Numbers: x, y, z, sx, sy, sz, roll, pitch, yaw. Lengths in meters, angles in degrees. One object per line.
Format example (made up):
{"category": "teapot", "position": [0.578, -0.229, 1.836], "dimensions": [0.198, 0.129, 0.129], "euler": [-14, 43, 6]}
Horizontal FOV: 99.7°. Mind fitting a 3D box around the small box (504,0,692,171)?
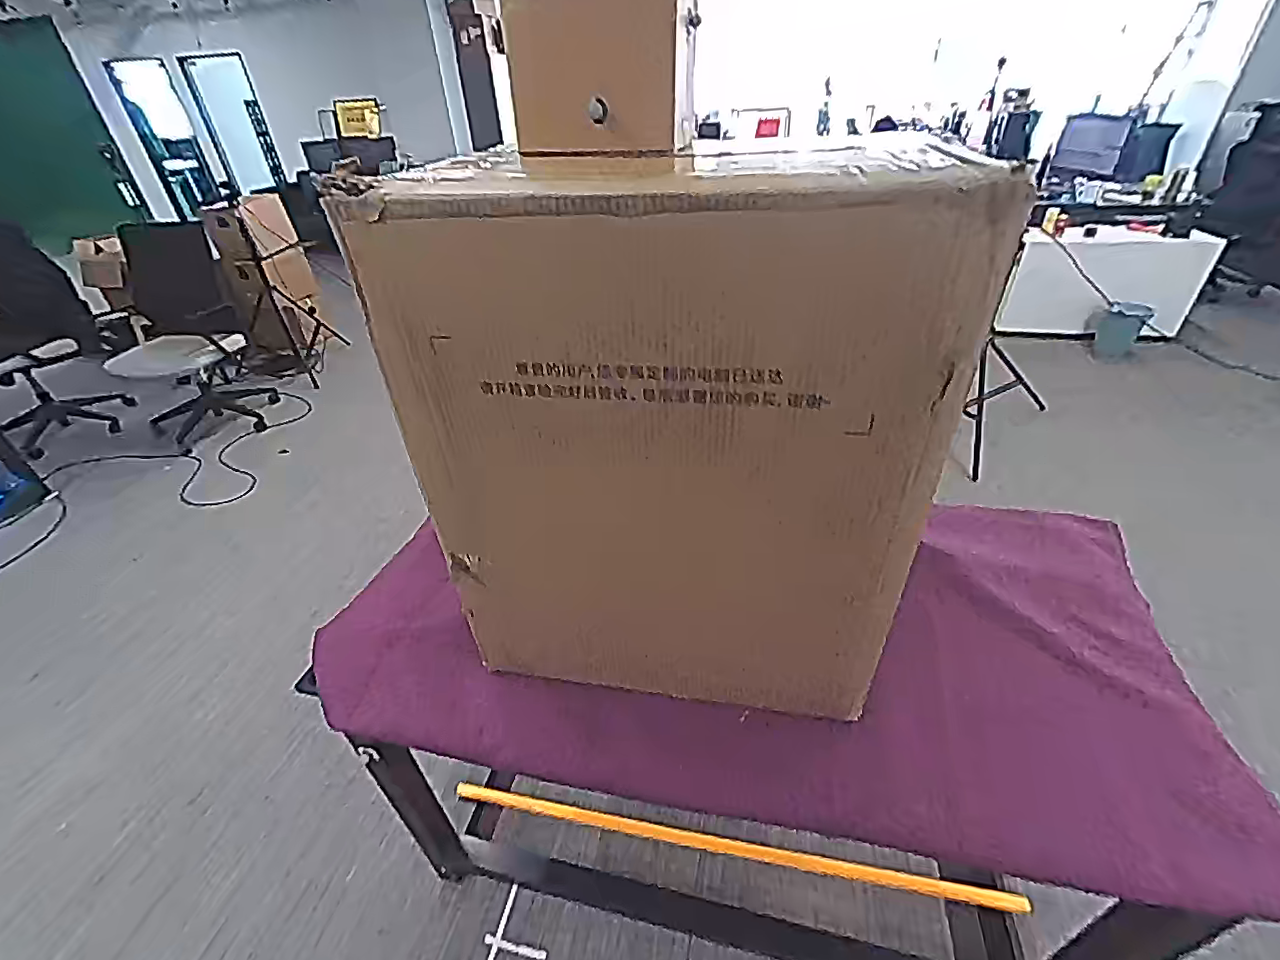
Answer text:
{"category": "small box", "position": [-0.038, -0.448, 0.599], "dimensions": [0.179, 0.176, 0.168], "euler": [5, 36, 11]}
